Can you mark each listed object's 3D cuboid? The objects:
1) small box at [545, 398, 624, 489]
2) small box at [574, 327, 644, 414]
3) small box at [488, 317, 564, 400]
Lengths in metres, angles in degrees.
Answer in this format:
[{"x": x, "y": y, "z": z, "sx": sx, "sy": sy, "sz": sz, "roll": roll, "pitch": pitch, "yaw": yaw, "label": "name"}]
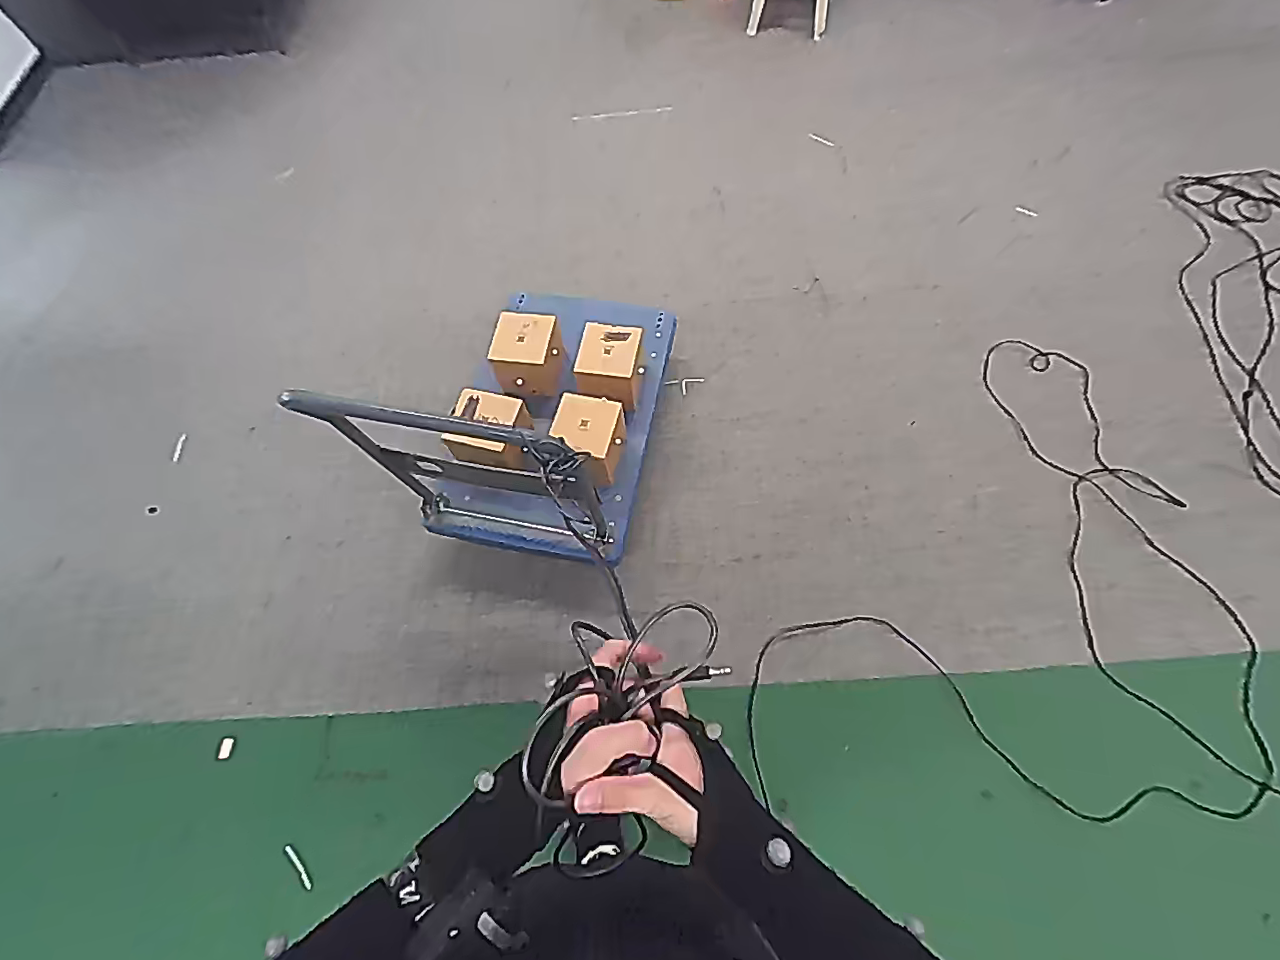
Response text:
[{"x": -0.143, "y": -0.097, "z": 1.484, "sx": 0.168, "sy": 0.176, "sz": 0.179, "roll": 11, "pitch": 67, "yaw": 9, "label": "small box"}, {"x": -0.083, "y": -0.317, "z": 1.582, "sx": 0.168, "sy": 0.176, "sz": 0.179, "roll": 8, "pitch": 66, "yaw": 8, "label": "small box"}, {"x": -0.333, "y": -0.359, "z": 1.618, "sx": 0.168, "sy": 0.176, "sz": 0.179, "roll": 7, "pitch": 66, "yaw": 6, "label": "small box"}]
